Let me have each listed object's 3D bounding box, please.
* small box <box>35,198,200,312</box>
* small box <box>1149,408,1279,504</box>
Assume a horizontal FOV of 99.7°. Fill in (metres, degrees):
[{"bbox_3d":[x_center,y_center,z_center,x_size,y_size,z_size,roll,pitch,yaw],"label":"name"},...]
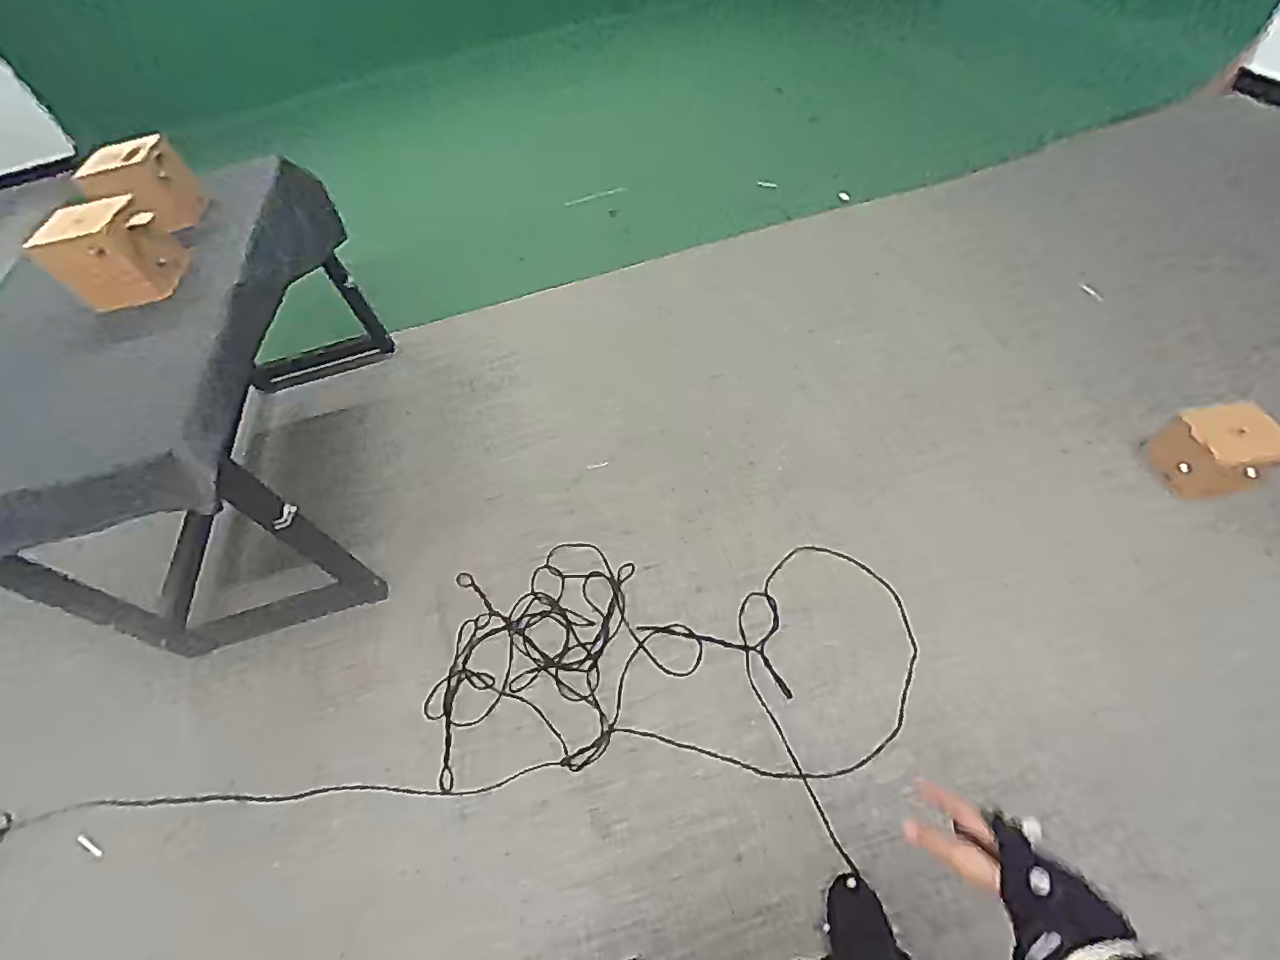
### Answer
[{"bbox_3d":[-1.174,-0.505,1.232,0.179,0.176,0.168,-11,53,2],"label":"small box"},{"bbox_3d":[1.441,-0.055,1.353,0.179,0.176,0.168,-8,55,3],"label":"small box"}]
